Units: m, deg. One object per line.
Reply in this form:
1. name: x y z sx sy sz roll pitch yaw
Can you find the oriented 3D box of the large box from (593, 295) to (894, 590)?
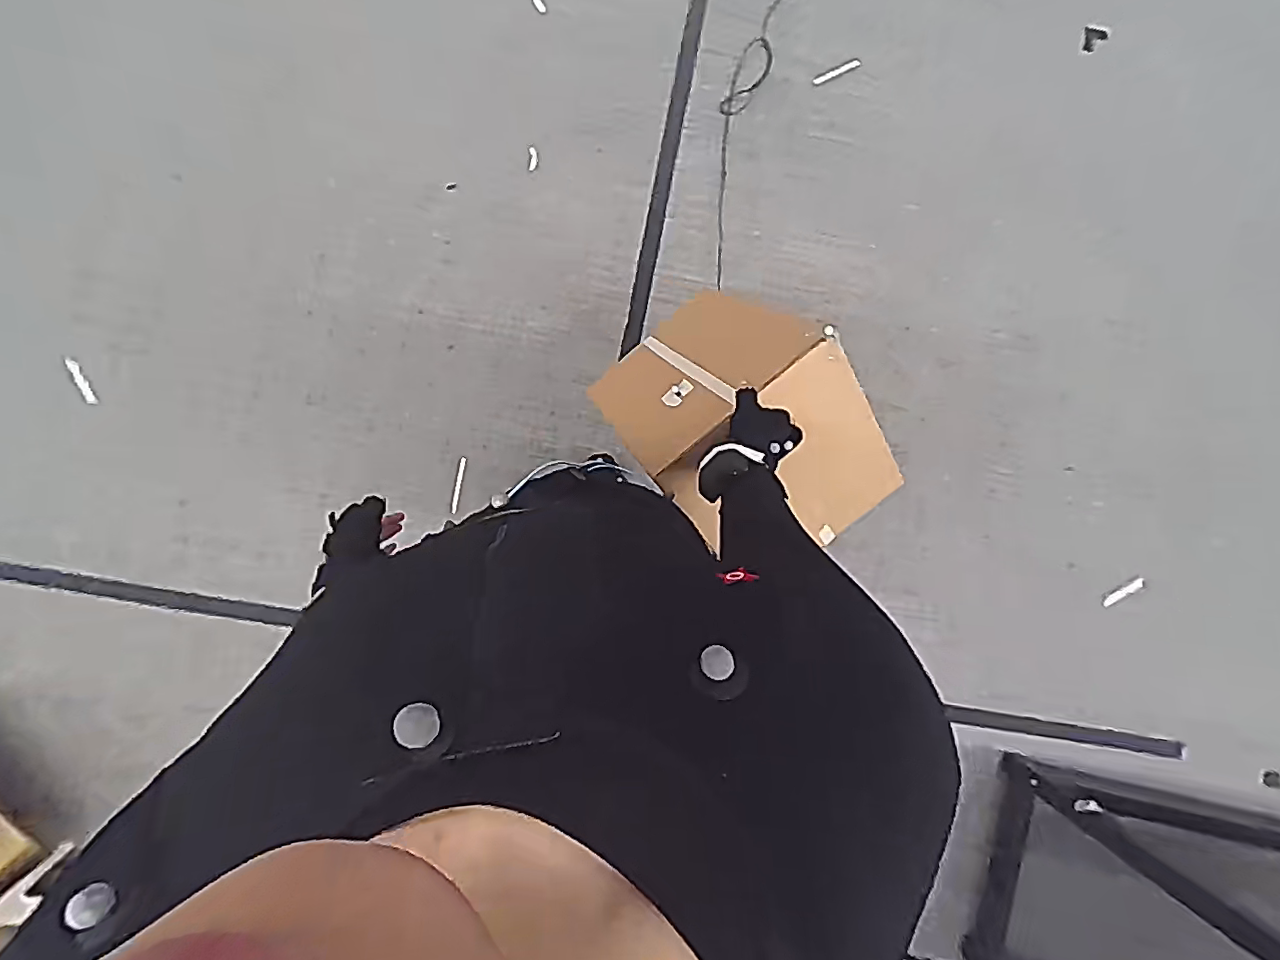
1. large box: 0.166 -0.087 0.978 0.320 0.408 0.320 -39 123 3
